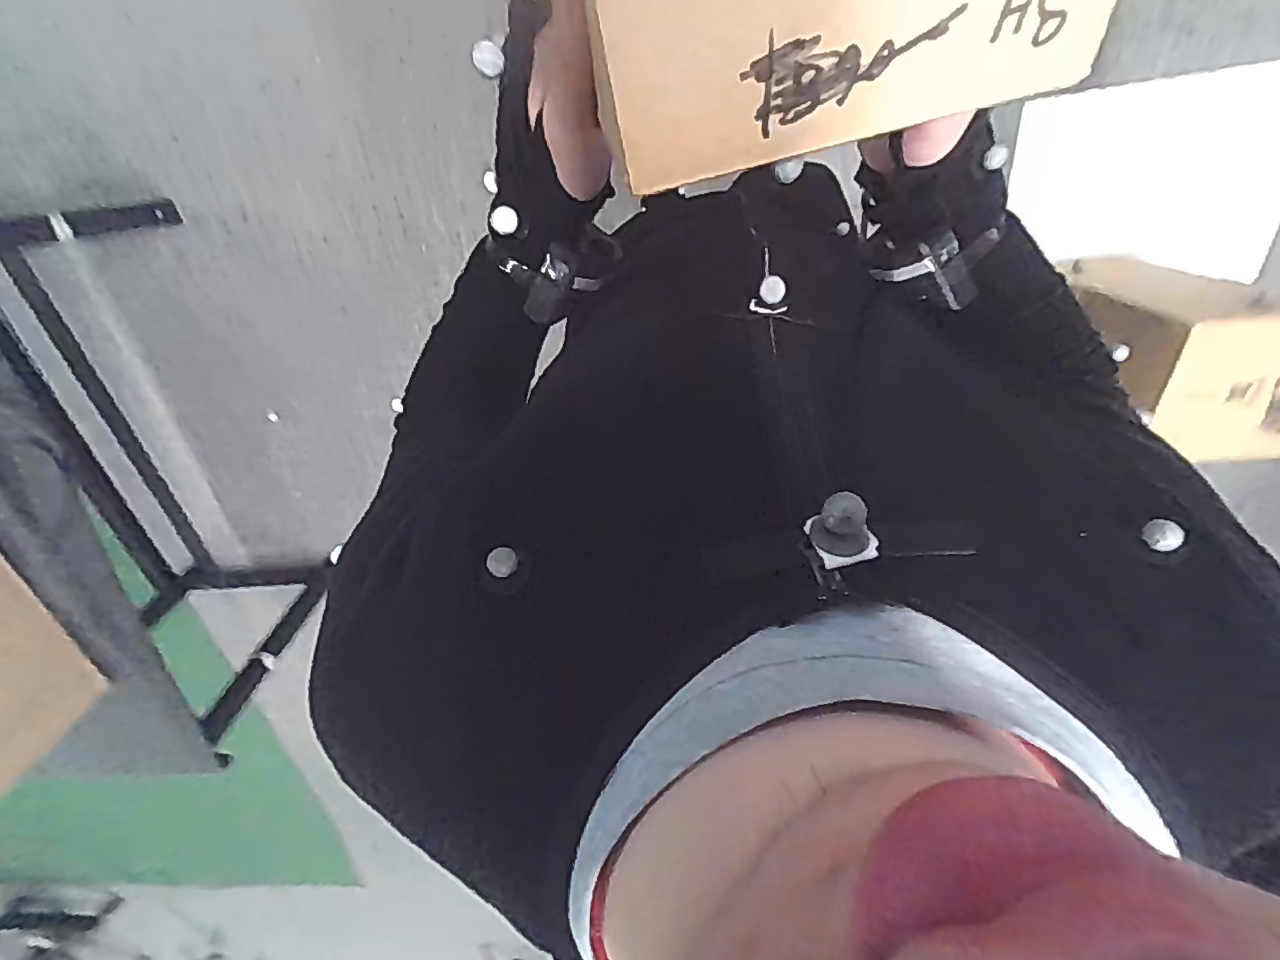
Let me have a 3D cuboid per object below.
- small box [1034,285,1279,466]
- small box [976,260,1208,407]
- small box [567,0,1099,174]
[{"bbox_3d":[0.636,-0.131,0.653,0.179,0.176,0.168,-2,122,3],"label":"small box"},{"bbox_3d":[0.635,-0.218,0.793,0.179,0.176,0.168,-4,122,1],"label":"small box"},{"bbox_3d":[0.044,-0.241,0.189,0.168,0.176,0.179,-14,134,3],"label":"small box"}]
